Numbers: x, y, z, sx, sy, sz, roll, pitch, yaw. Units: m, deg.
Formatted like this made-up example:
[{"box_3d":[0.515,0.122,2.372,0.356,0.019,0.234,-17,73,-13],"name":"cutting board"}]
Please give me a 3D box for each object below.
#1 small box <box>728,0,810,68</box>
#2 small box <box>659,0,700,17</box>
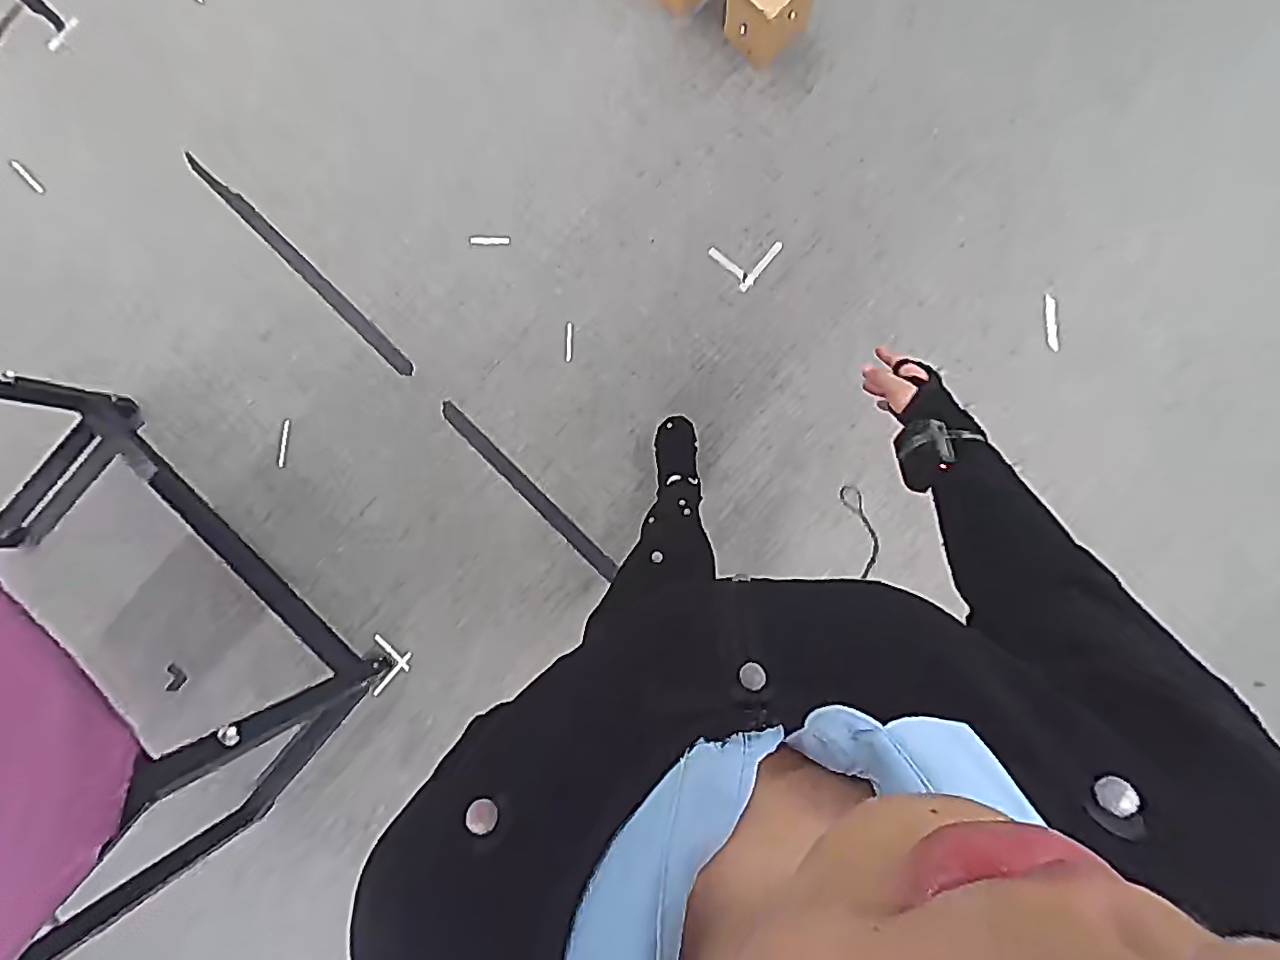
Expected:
[{"box_3d":[0.358,-1.308,1.497,0.179,0.176,0.168,-44,84,0],"name":"small box"},{"box_3d":[0.123,-1.491,1.534,0.179,0.176,0.168,-45,83,1],"name":"small box"}]
